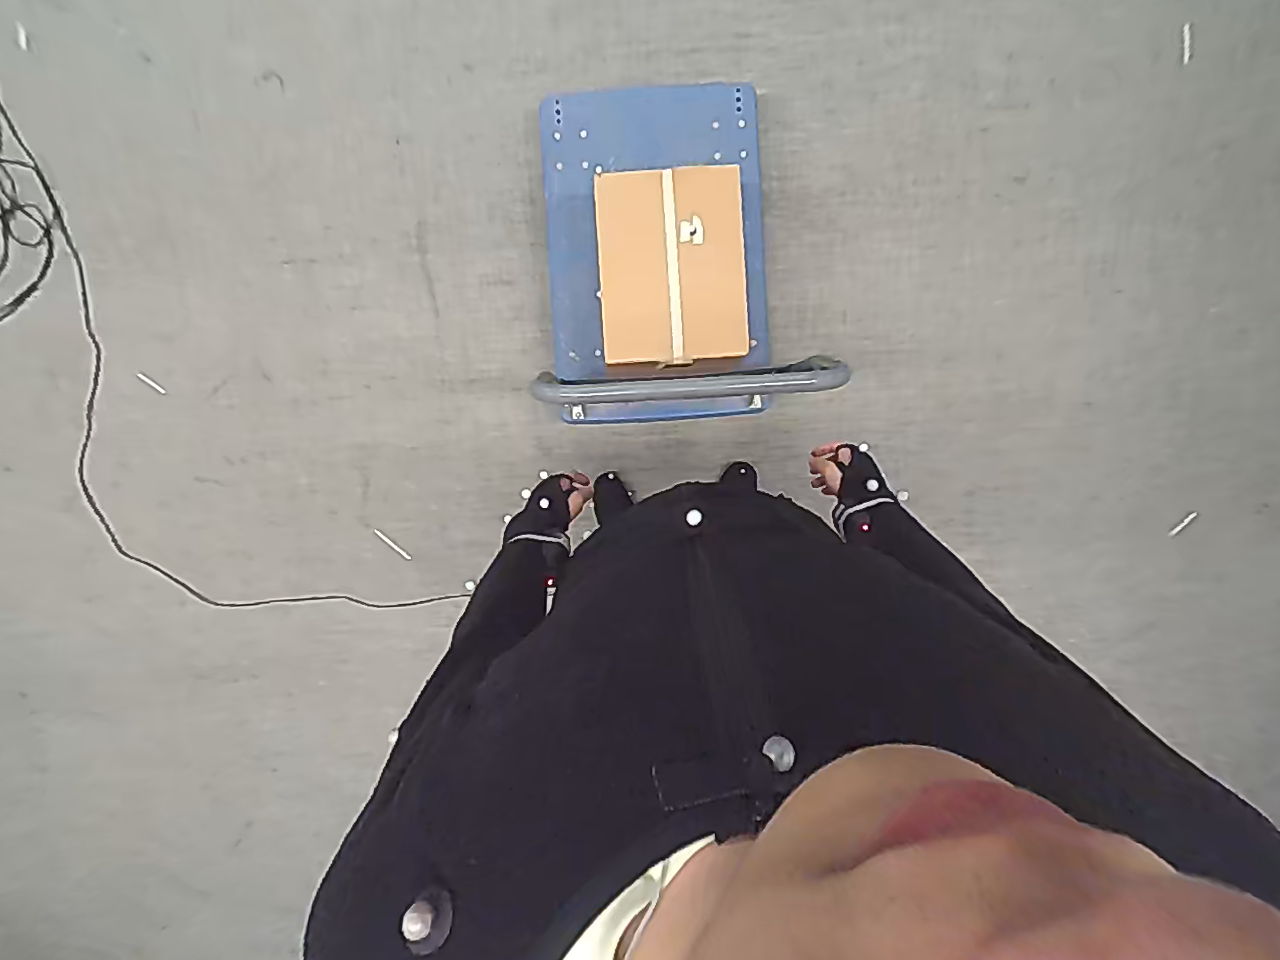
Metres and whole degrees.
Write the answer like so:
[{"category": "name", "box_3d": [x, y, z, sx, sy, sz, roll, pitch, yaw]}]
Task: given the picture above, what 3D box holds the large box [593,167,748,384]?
[{"category": "large box", "box_3d": [0.068, -0.462, 1.304, 0.320, 0.320, 0.408, -3, 91, 0]}]
